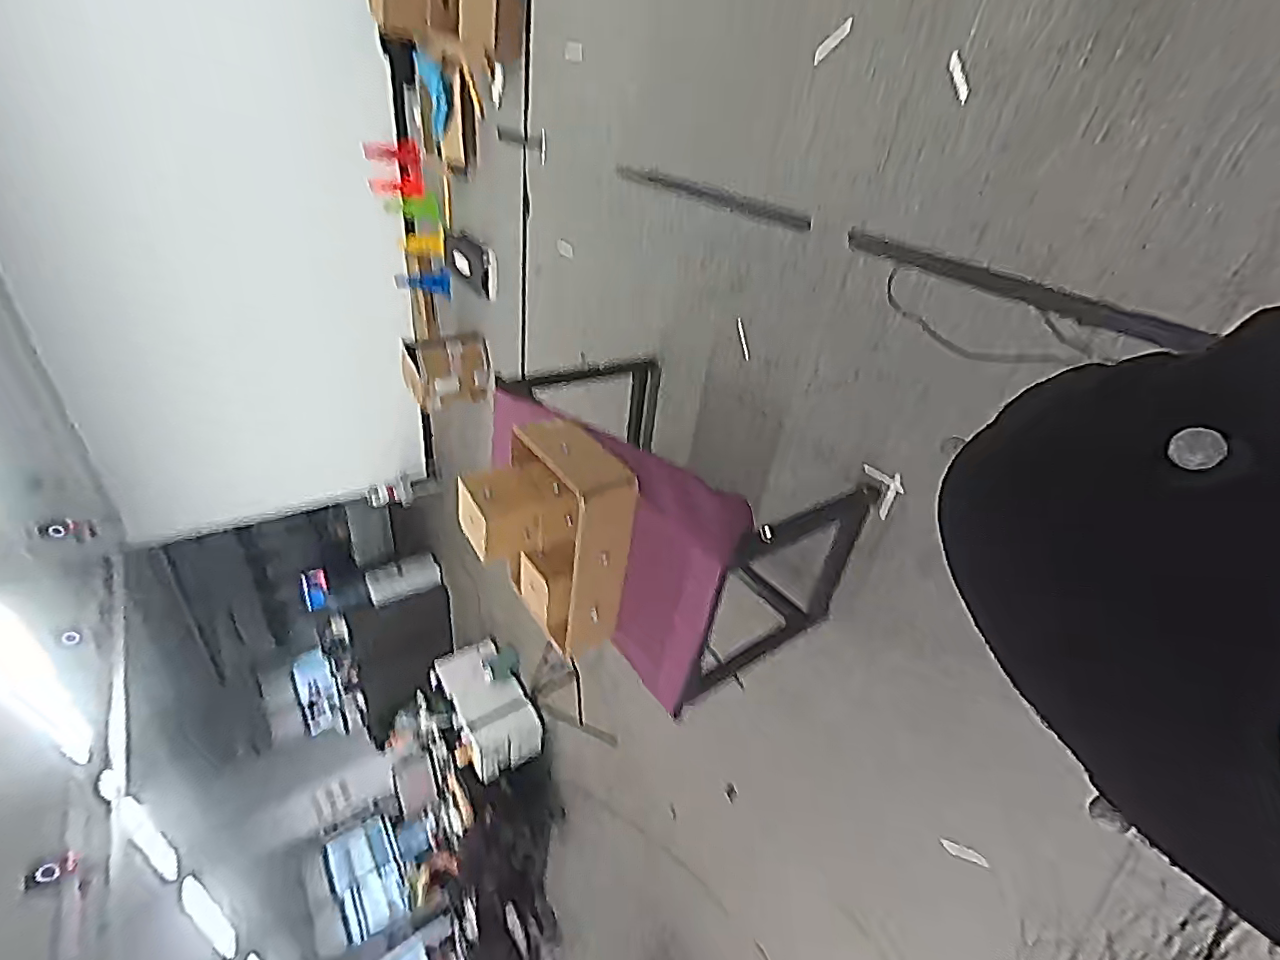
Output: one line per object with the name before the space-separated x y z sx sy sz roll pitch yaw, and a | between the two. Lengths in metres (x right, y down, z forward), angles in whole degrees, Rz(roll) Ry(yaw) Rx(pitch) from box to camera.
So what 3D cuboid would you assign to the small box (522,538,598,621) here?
small box | -0.249 0.296 1.662 0.179 0.176 0.168 38 132 41
